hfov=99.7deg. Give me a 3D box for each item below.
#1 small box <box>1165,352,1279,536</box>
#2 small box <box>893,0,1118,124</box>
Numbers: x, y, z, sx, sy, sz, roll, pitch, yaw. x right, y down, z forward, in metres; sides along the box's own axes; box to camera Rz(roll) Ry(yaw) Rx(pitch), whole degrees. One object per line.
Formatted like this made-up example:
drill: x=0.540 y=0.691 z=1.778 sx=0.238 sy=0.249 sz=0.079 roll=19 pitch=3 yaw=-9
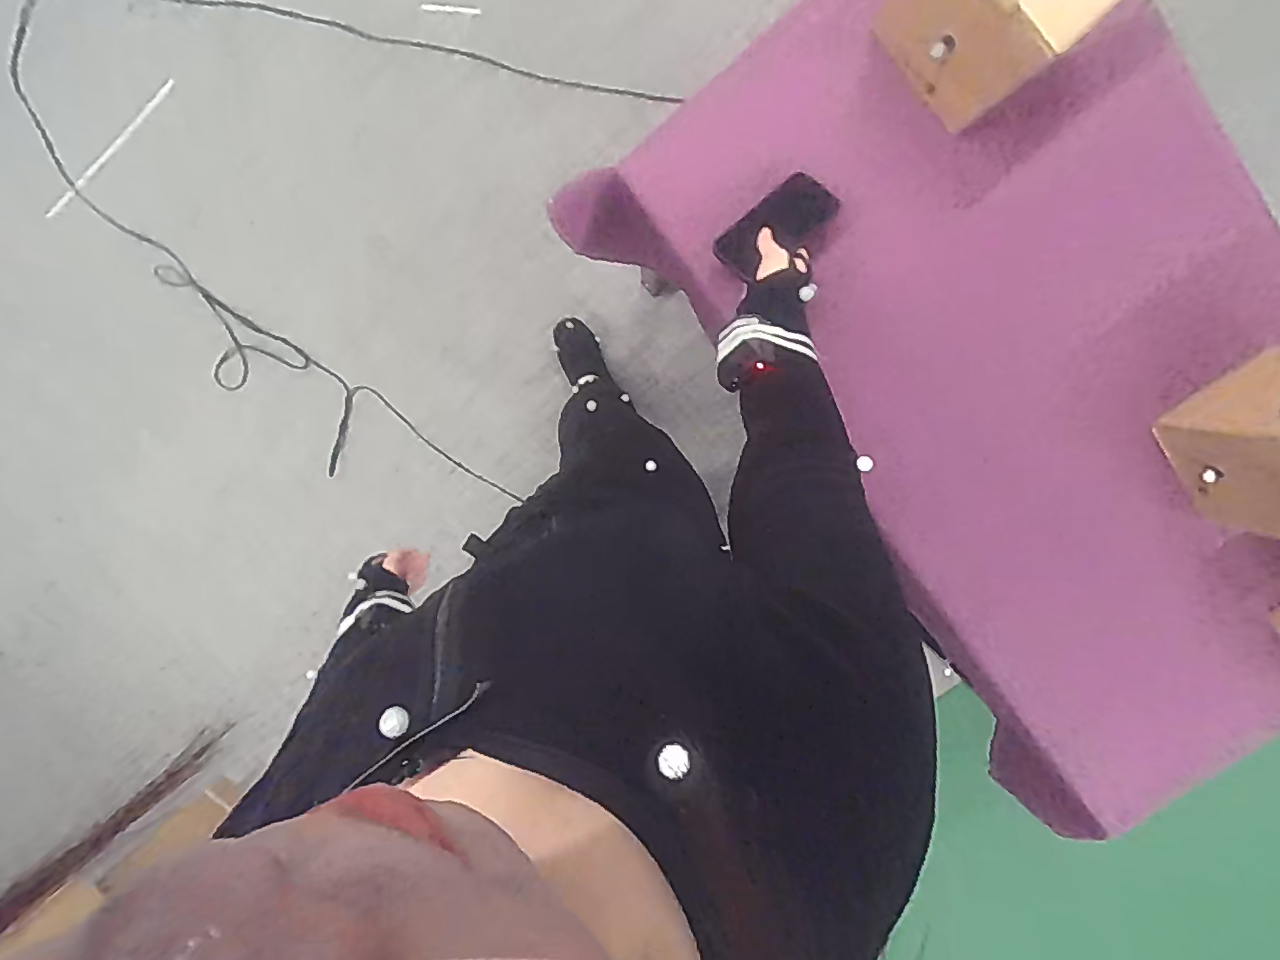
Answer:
small box: x=0.796 y=-0.043 z=0.632 sx=0.179 sy=0.176 sz=0.168 roll=-36 pitch=98 yaw=8
small box: x=0.389 y=-0.515 z=0.548 sx=0.179 sy=0.176 sz=0.168 roll=-43 pitch=98 yaw=9
